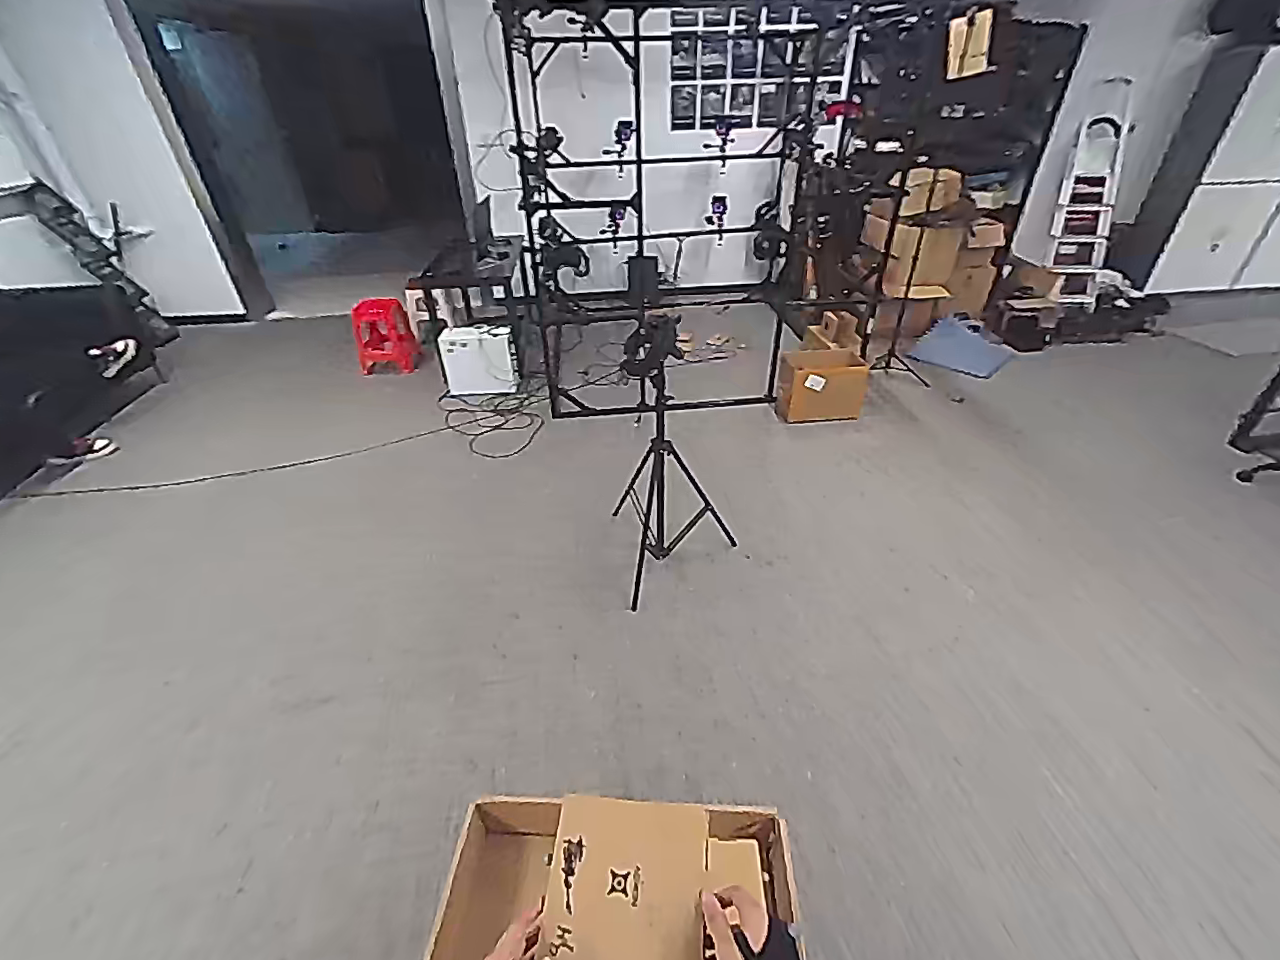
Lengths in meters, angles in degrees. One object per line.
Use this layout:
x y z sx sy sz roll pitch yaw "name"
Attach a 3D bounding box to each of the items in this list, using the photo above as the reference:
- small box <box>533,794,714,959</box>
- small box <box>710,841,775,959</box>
-0.011 0.491 0.630 0.179 0.176 0.168 4 45 6 "small box"
0.101 0.665 0.797 0.168 0.176 0.179 0 34 2 "small box"
